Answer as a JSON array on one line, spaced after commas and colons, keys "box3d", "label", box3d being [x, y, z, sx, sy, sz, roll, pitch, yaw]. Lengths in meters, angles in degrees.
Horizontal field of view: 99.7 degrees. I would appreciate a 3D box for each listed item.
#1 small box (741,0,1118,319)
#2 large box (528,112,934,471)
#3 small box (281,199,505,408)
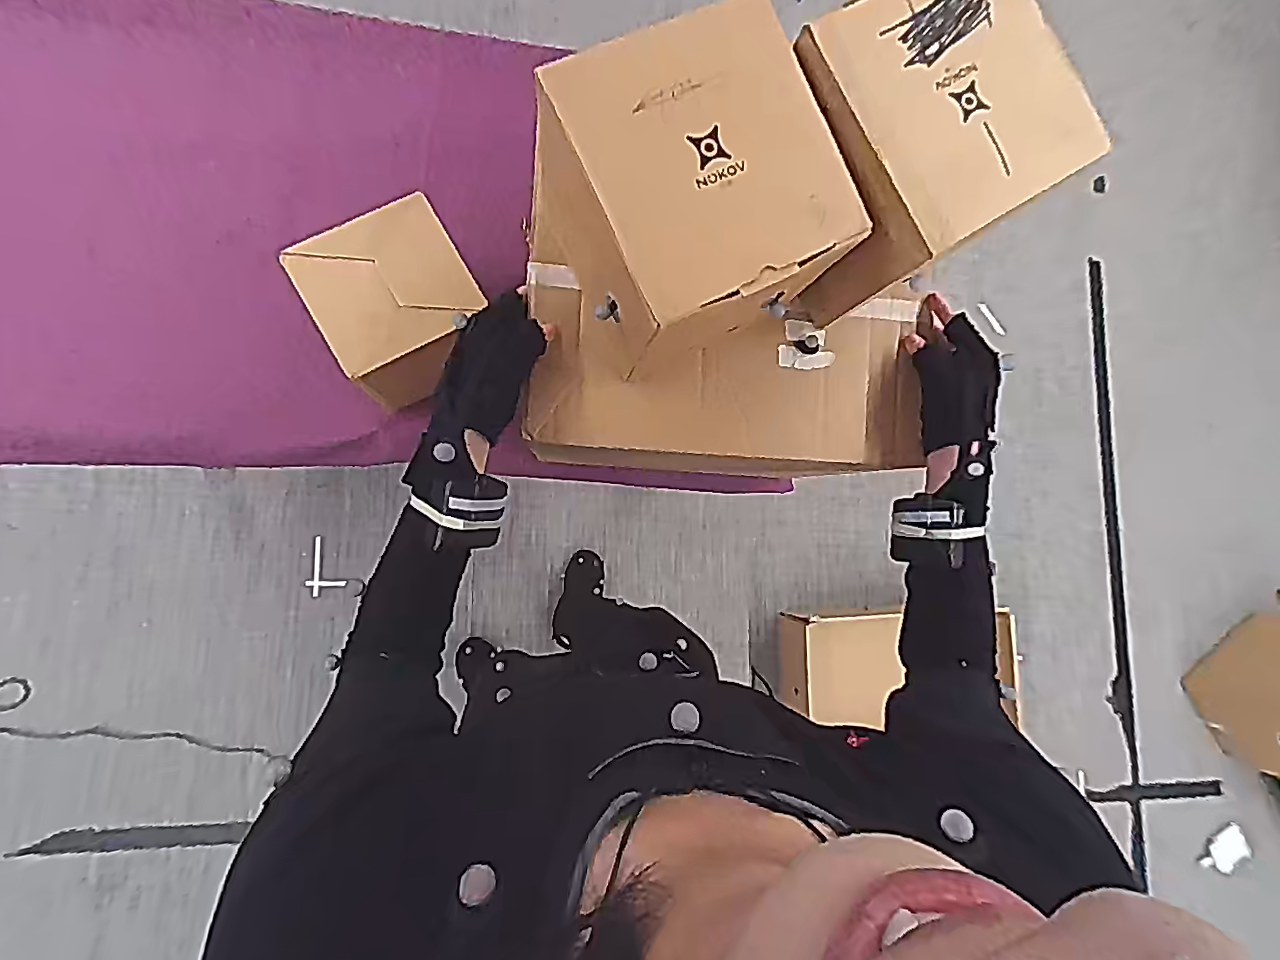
[{"box3d": [0.208, -0.263, 0.438, 0.168, 0.176, 0.179, -31, 93, -7], "label": "small box"}, {"box3d": [0.075, -0.176, 0.664, 0.408, 0.320, 0.320, 3, 89, -8], "label": "large box"}, {"box3d": [-0.295, -0.214, 0.679, 0.179, 0.176, 0.168, -29, 88, -9], "label": "small box"}]
